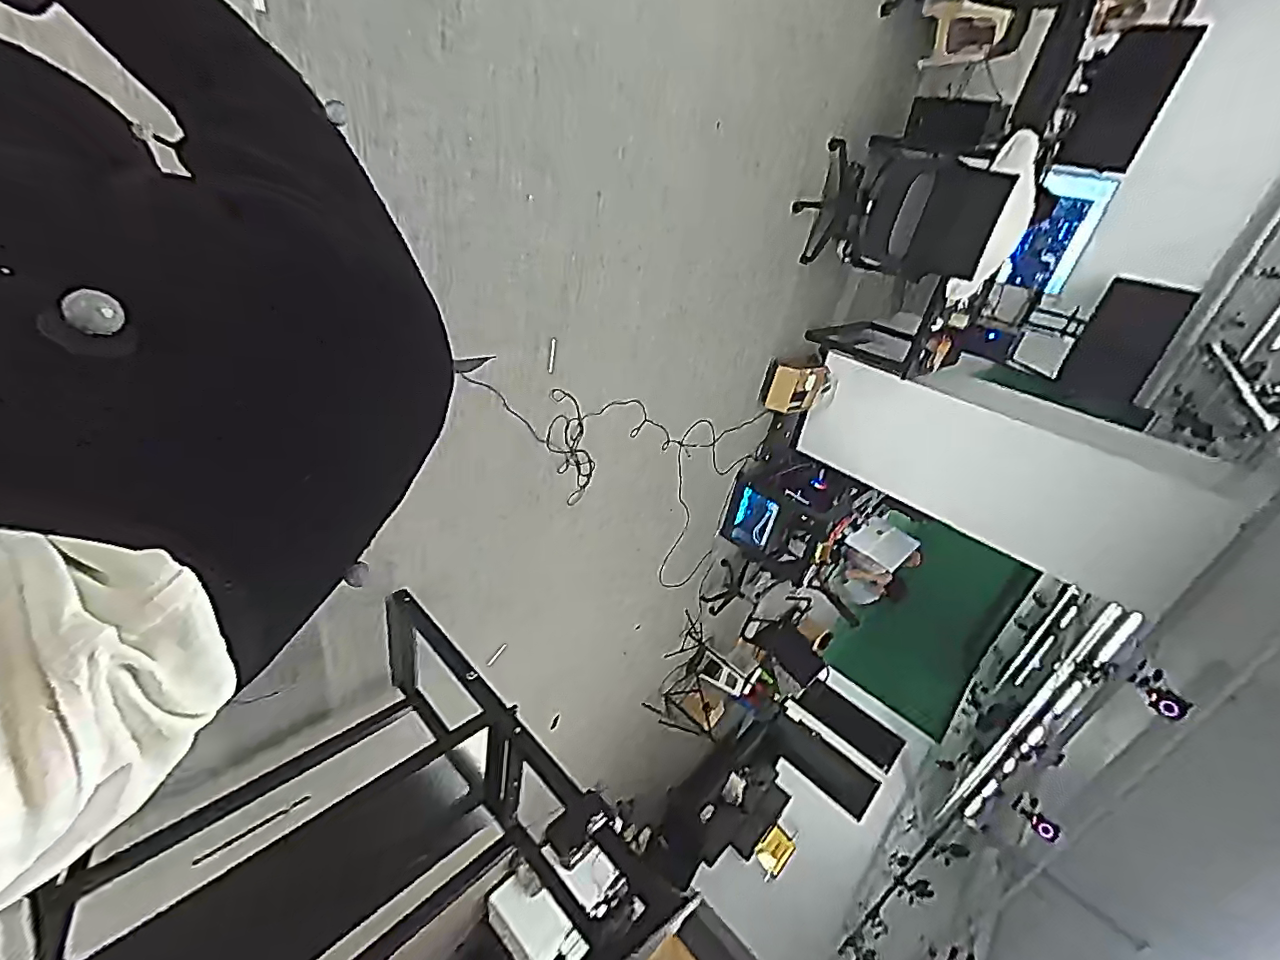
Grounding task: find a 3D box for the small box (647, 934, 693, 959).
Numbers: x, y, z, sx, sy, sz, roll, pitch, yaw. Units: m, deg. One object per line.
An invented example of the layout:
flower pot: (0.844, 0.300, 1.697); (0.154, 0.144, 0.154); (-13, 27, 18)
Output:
small box: (0.073, 1.265, 1.314); (0.168, 0.176, 0.179); (-29, 137, -37)
